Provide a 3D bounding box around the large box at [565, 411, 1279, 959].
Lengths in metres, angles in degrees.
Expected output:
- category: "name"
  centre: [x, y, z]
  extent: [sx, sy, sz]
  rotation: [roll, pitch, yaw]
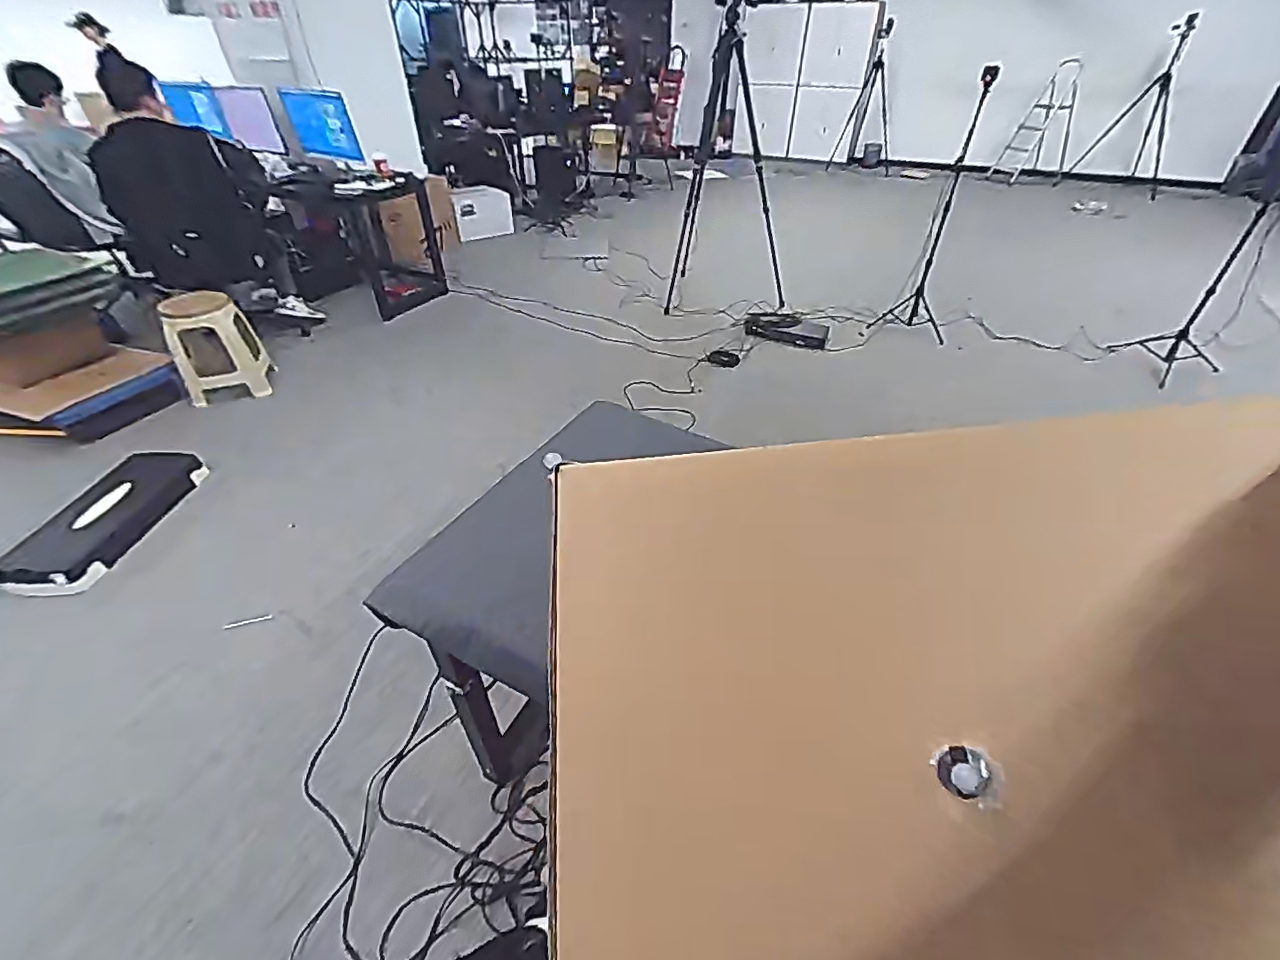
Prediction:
- category: "large box"
  centre: [0.187, 0.159, 0.407]
  extent: [0.408, 0.320, 0.320]
  rotation: [-6, 76, 12]
